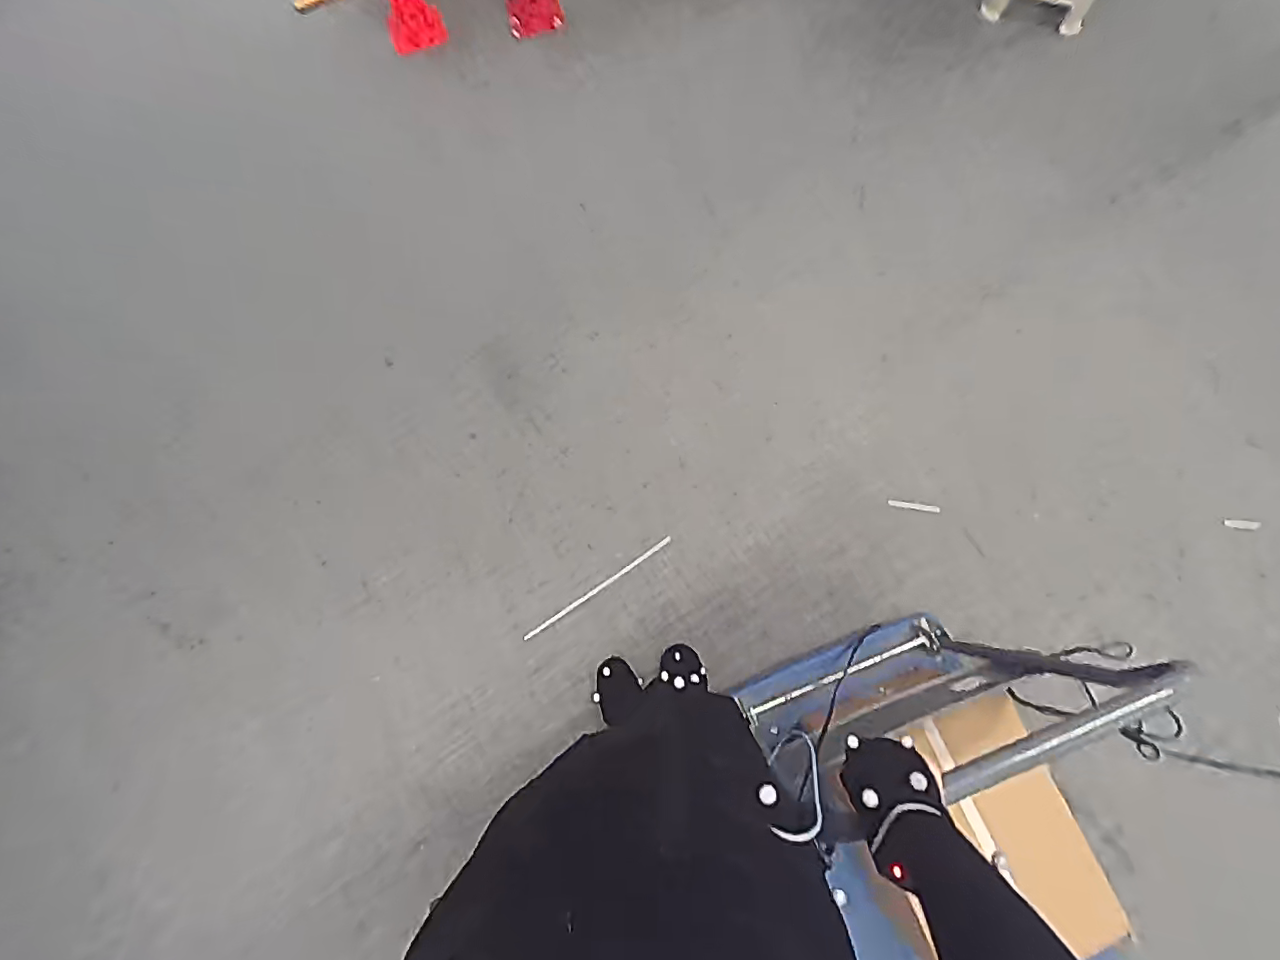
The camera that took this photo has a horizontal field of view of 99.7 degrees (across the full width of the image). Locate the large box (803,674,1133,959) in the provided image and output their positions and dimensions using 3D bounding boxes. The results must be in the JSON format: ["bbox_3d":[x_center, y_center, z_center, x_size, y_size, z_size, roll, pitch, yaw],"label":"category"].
[{"bbox_3d":[0.572,0.635,1.037,0.320,0.320,0.408,-21,76,-4],"label":"large box"}]
